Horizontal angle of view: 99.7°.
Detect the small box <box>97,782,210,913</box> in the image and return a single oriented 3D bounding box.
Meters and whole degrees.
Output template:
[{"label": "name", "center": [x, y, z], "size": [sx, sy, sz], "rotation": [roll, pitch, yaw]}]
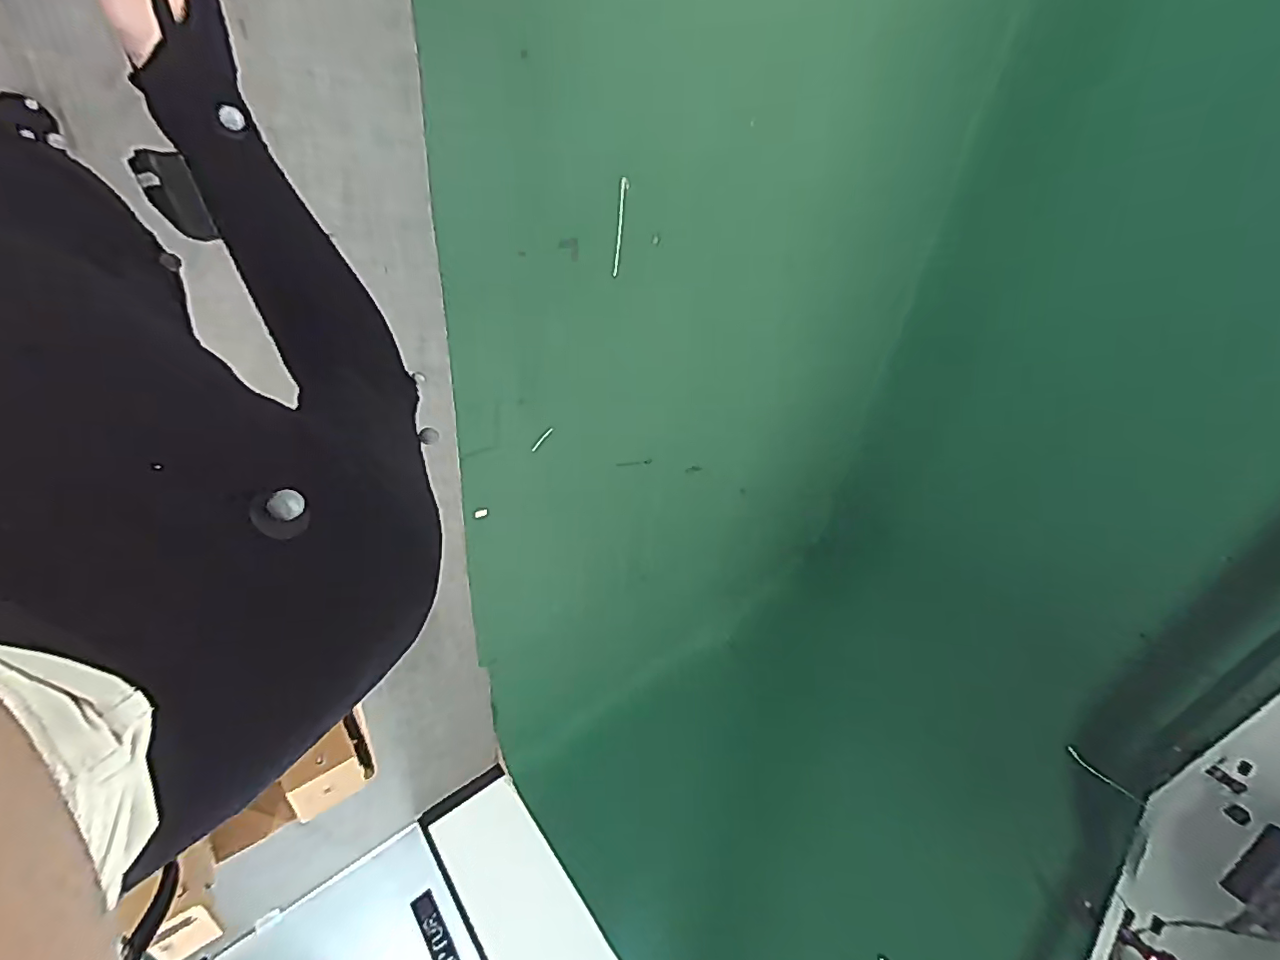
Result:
[{"label": "small box", "center": [-1.179, 0.885, 1.316], "size": [0.168, 0.176, 0.179], "rotation": [-19, 131, -36]}]
